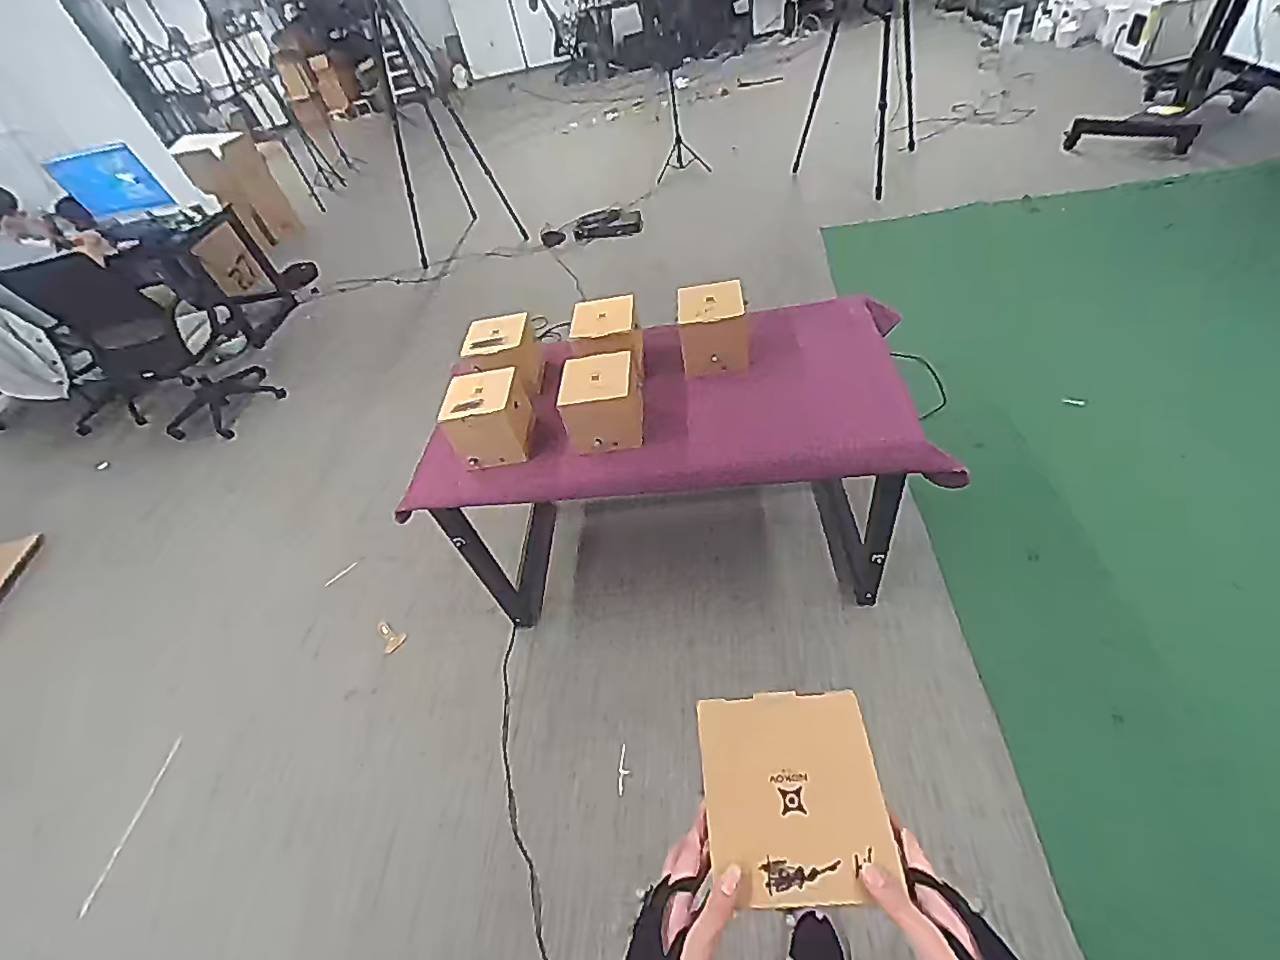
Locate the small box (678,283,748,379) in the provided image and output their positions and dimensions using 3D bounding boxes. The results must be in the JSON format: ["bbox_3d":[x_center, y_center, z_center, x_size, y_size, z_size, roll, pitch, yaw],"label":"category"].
[{"bbox_3d":[0.194,-0.393,1.433,0.168,0.176,0.179,-6,48,11],"label":"small box"}]

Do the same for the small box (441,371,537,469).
[{"bbox_3d":[-0.368,-0.142,1.355,0.168,0.176,0.179,-8,45,8],"label":"small box"}]

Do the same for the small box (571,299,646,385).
[{"bbox_3d":[-0.081,-0.370,1.490,0.168,0.176,0.179,-6,49,9],"label":"small box"}]

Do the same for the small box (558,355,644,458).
[{"bbox_3d":[-0.087,-0.177,1.315,0.168,0.176,0.179,-7,48,10],"label":"small box"}]
